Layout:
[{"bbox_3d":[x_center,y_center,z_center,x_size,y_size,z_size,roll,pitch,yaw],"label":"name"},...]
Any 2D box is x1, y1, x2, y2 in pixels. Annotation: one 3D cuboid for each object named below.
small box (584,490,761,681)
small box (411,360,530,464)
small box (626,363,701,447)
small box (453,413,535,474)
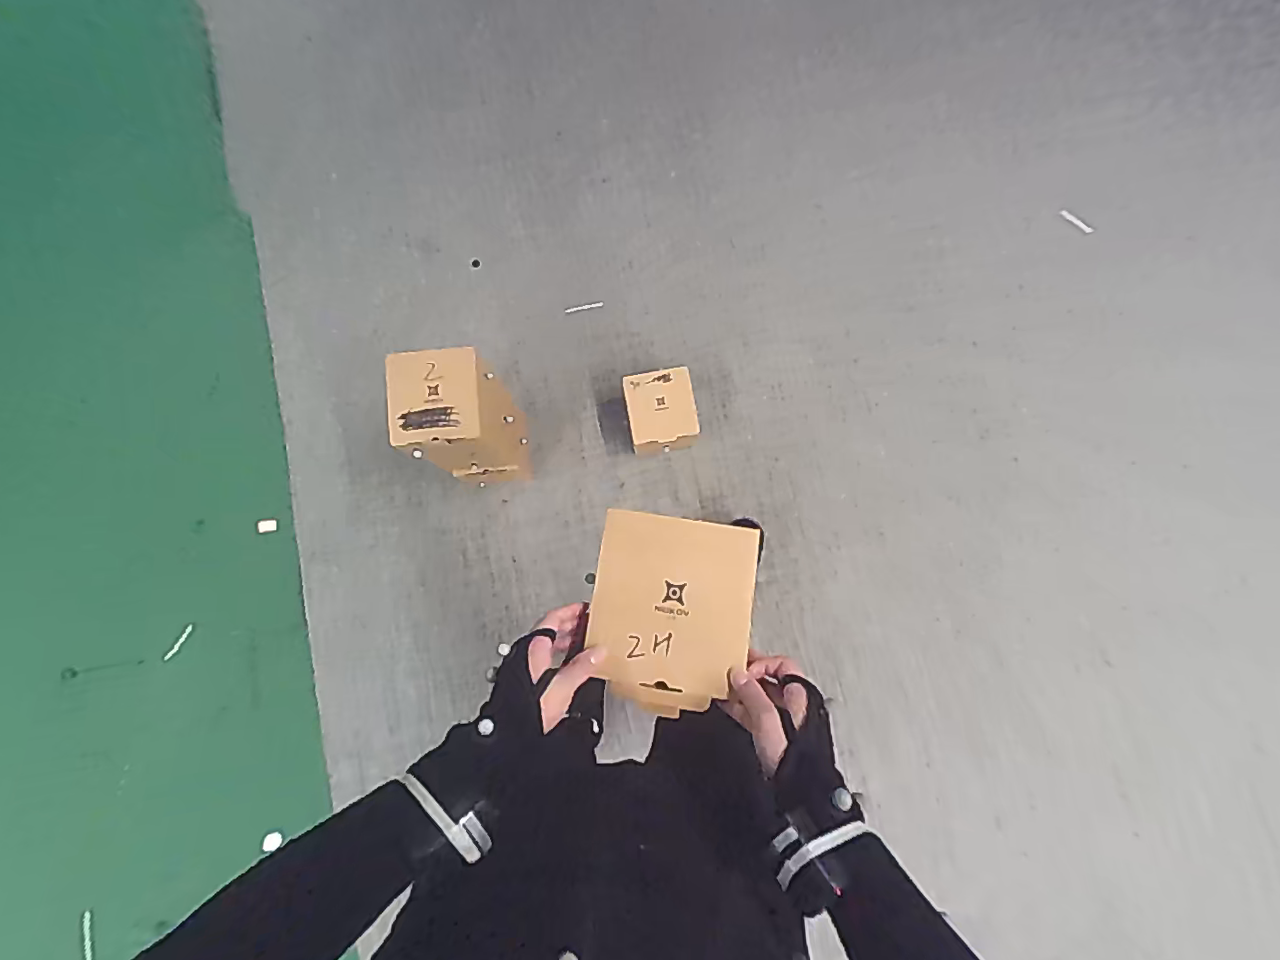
[{"bbox_3d":[0.036,0.124,0.639,0.168,0.176,0.179,9,78,3],"label":"small box"},{"bbox_3d":[-0.379,-0.146,1.239,0.179,0.176,0.168,25,87,4],"label":"small box"},{"bbox_3d":[0.058,-0.185,1.394,0.168,0.176,0.179,-9,85,0],"label":"small box"},{"bbox_3d":[-0.372,-0.112,1.391,0.168,0.176,0.179,-6,83,0],"label":"small box"}]
